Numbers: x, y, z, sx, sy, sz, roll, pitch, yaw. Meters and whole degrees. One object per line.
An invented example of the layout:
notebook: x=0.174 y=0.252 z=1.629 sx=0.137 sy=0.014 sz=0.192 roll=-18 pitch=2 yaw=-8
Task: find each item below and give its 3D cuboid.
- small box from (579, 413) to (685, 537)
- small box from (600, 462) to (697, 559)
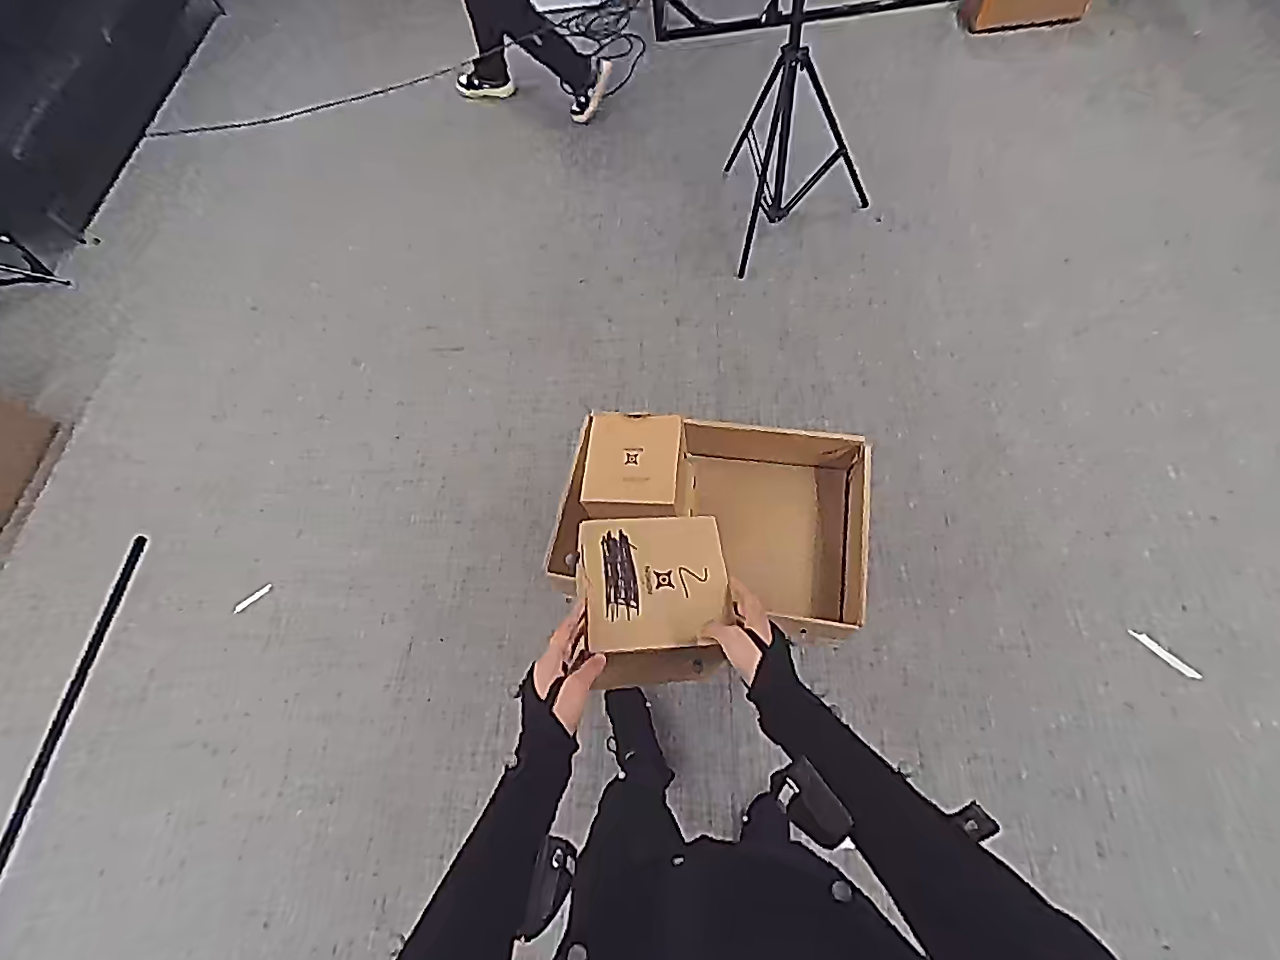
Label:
small box: x=-0.005 y=-0.006 z=1.015 sx=0.168 sy=0.176 sz=0.179 roll=2 pitch=65 yaw=10
small box: x=0.026 y=0.065 z=1.160 sx=0.179 sy=0.176 sz=0.168 roll=5 pitch=66 yaw=9
